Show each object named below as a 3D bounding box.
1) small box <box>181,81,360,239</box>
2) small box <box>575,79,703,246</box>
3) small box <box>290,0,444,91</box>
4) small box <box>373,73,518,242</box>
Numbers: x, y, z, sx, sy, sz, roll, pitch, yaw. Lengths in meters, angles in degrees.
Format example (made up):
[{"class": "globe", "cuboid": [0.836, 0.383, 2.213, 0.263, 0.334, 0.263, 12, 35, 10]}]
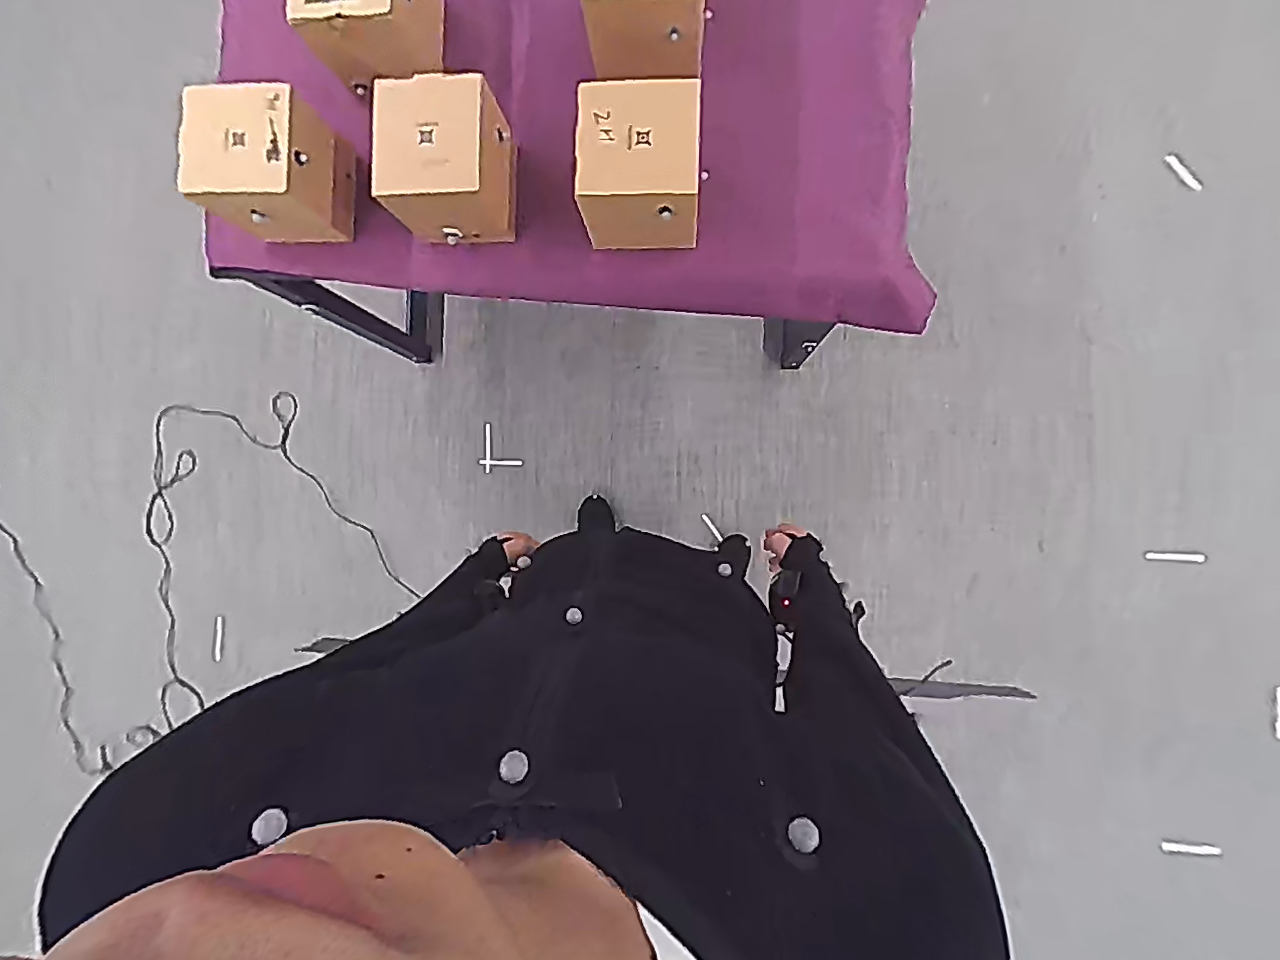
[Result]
[{"class": "small box", "cuboid": [-0.597, -0.514, 0.891, 0.179, 0.176, 0.168, 2, 90, 5]}, {"class": "small box", "cuboid": [0.004, -0.480, 0.839, 0.179, 0.176, 0.168, 2, 88, 5]}, {"class": "small box", "cuboid": [-0.436, -0.773, 0.885, 0.168, 0.176, 0.179, 1, 89, 5]}, {"class": "small box", "cuboid": [-0.302, -0.506, 0.869, 0.168, 0.176, 0.179, 1, 91, 6]}]
